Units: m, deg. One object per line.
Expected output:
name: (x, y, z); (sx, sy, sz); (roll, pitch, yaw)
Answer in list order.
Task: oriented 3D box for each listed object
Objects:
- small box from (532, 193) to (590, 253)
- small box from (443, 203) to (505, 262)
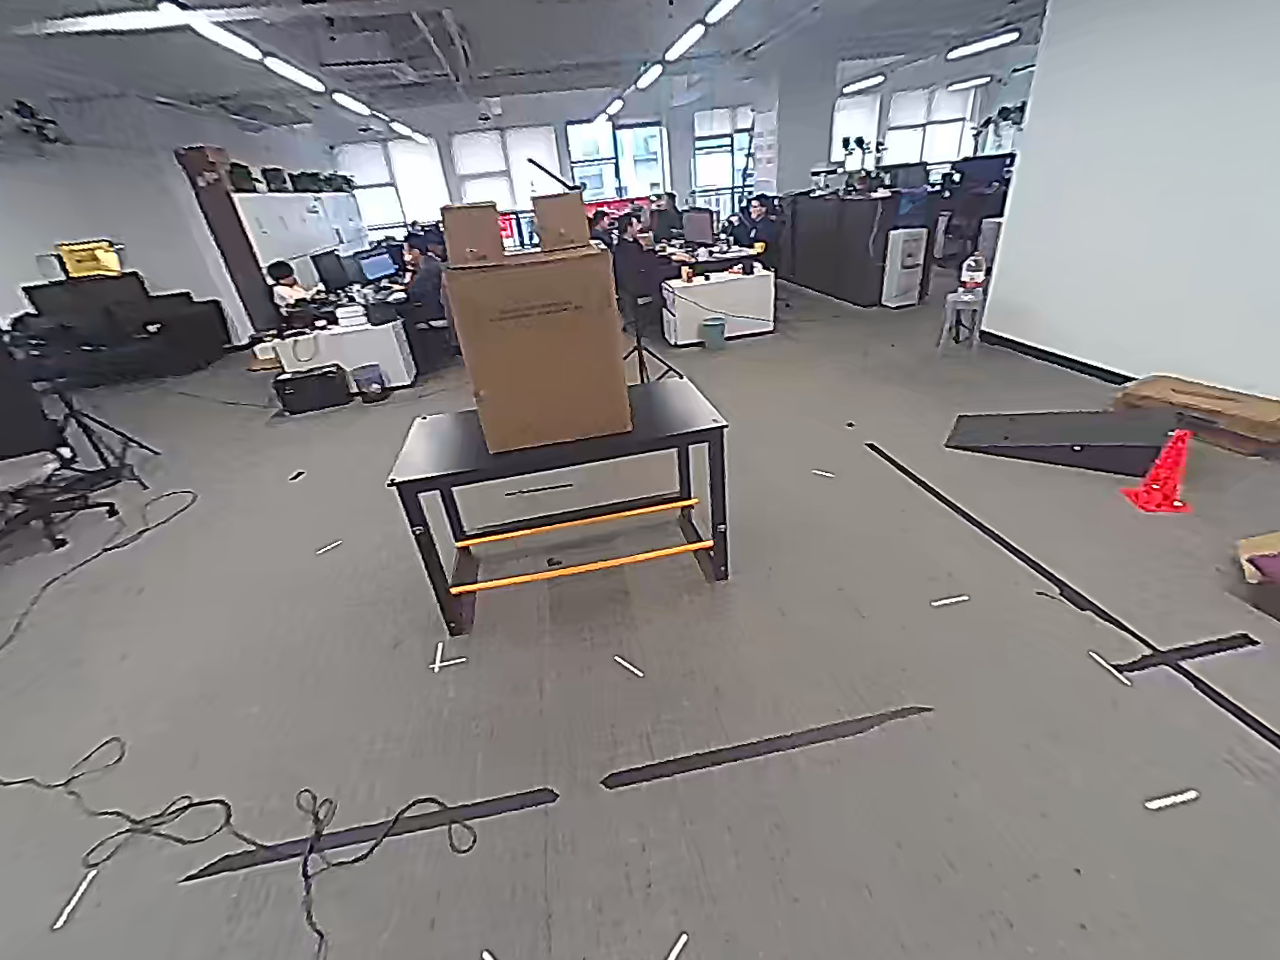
small box: (-0.272, -0.882, 1.859); (0.168, 0.176, 0.179); (-12, 28, -8)
small box: (-0.565, -0.846, 1.853); (0.168, 0.176, 0.179); (-11, 27, -9)
